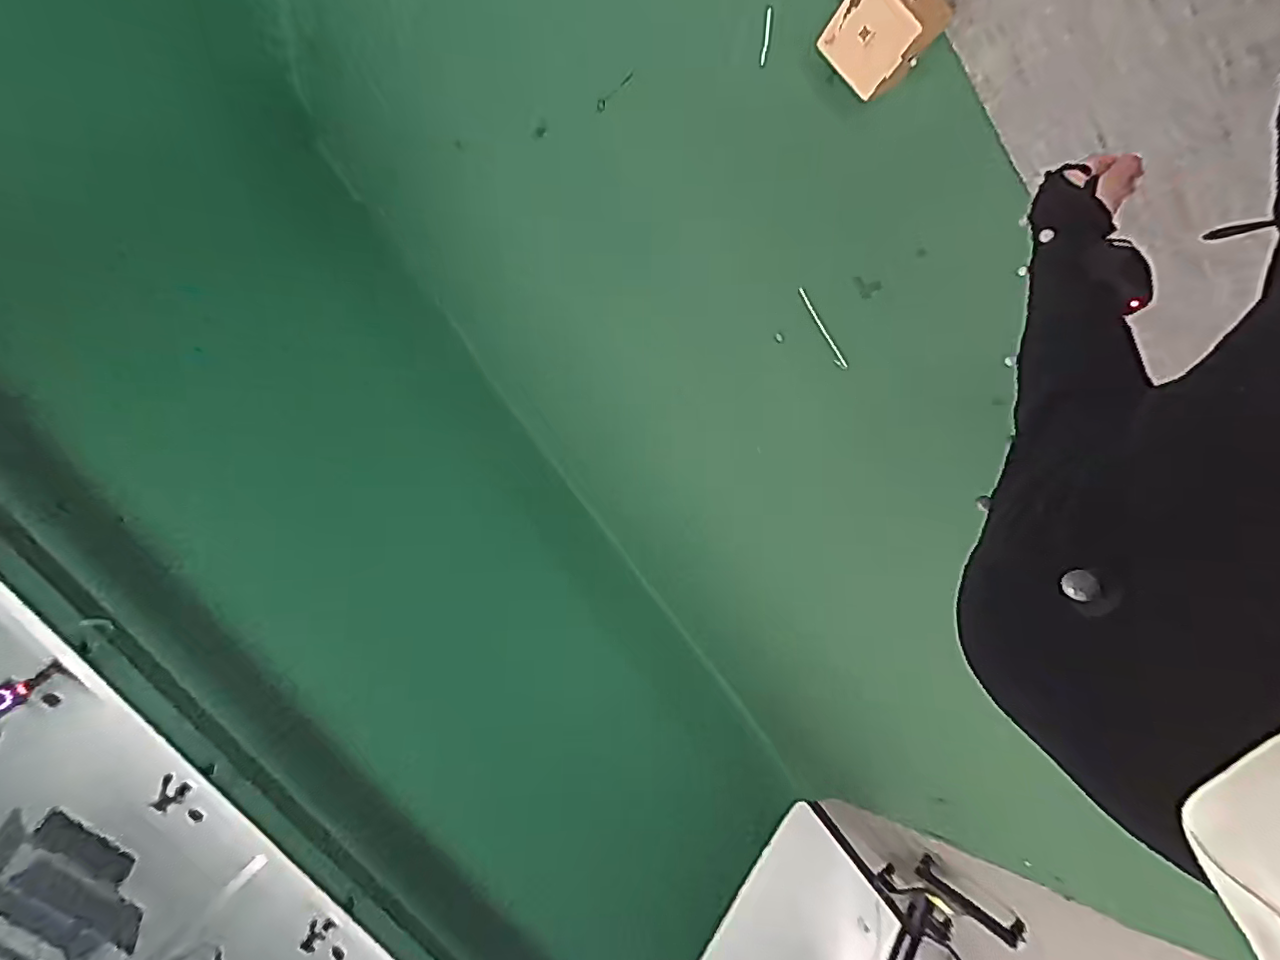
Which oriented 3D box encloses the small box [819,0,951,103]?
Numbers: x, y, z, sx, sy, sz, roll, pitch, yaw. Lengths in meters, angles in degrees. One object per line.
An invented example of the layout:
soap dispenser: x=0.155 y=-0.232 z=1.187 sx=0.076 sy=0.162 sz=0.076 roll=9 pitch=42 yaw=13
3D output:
small box: x=0.543 y=-0.990 z=1.194 sx=0.179 sy=0.176 sz=0.168 roll=48 pitch=151 yaw=-1
